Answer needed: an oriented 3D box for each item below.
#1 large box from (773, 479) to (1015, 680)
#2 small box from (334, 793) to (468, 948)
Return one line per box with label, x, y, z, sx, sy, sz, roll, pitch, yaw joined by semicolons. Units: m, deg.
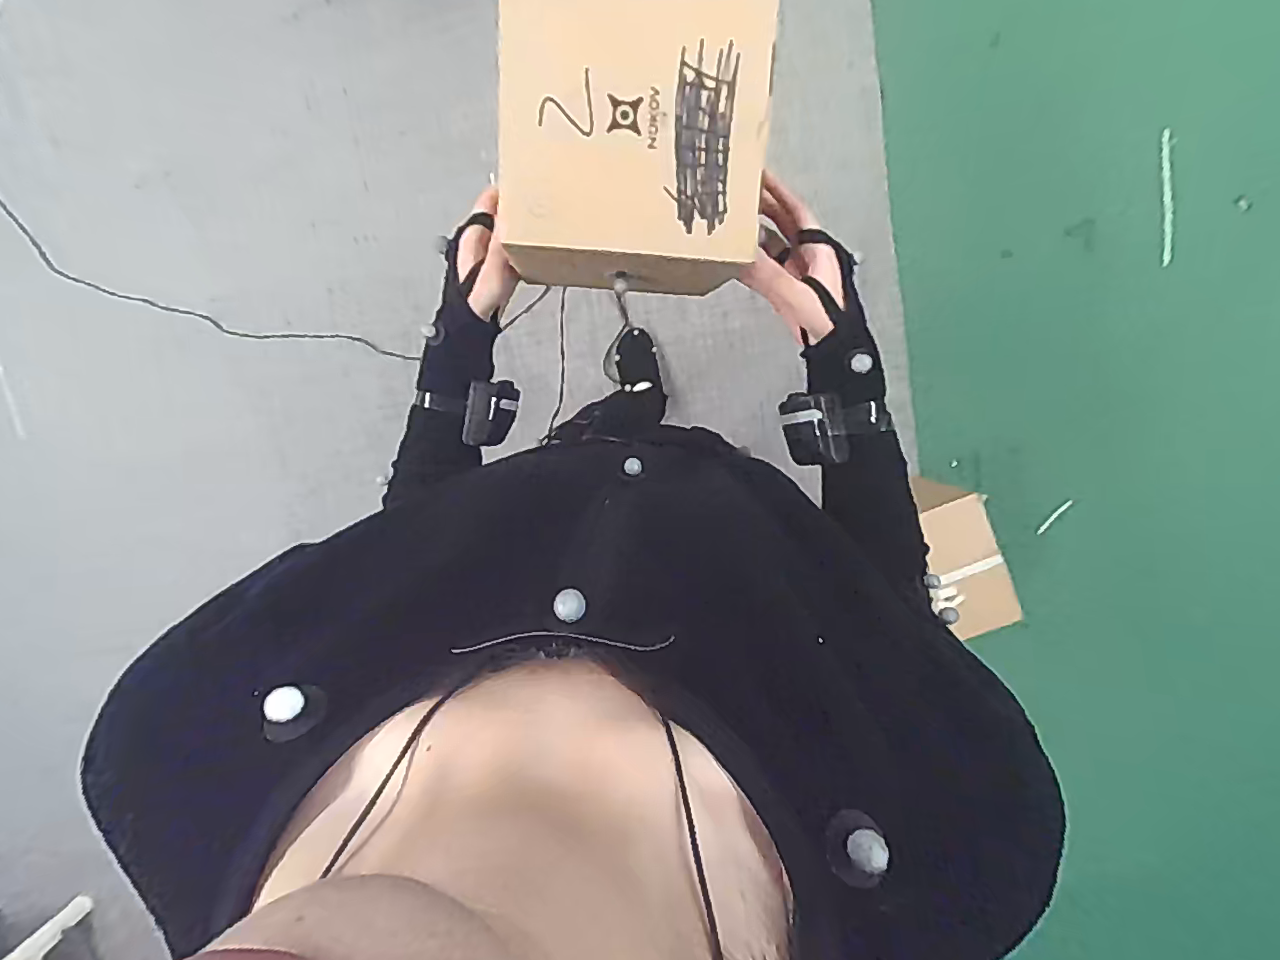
large box;0.599;0.224;1.347;0.408;0.320;0.320;-22;97;5
small box;-0.463;0.755;1.063;0.179;0.176;0.168;11;100;1
